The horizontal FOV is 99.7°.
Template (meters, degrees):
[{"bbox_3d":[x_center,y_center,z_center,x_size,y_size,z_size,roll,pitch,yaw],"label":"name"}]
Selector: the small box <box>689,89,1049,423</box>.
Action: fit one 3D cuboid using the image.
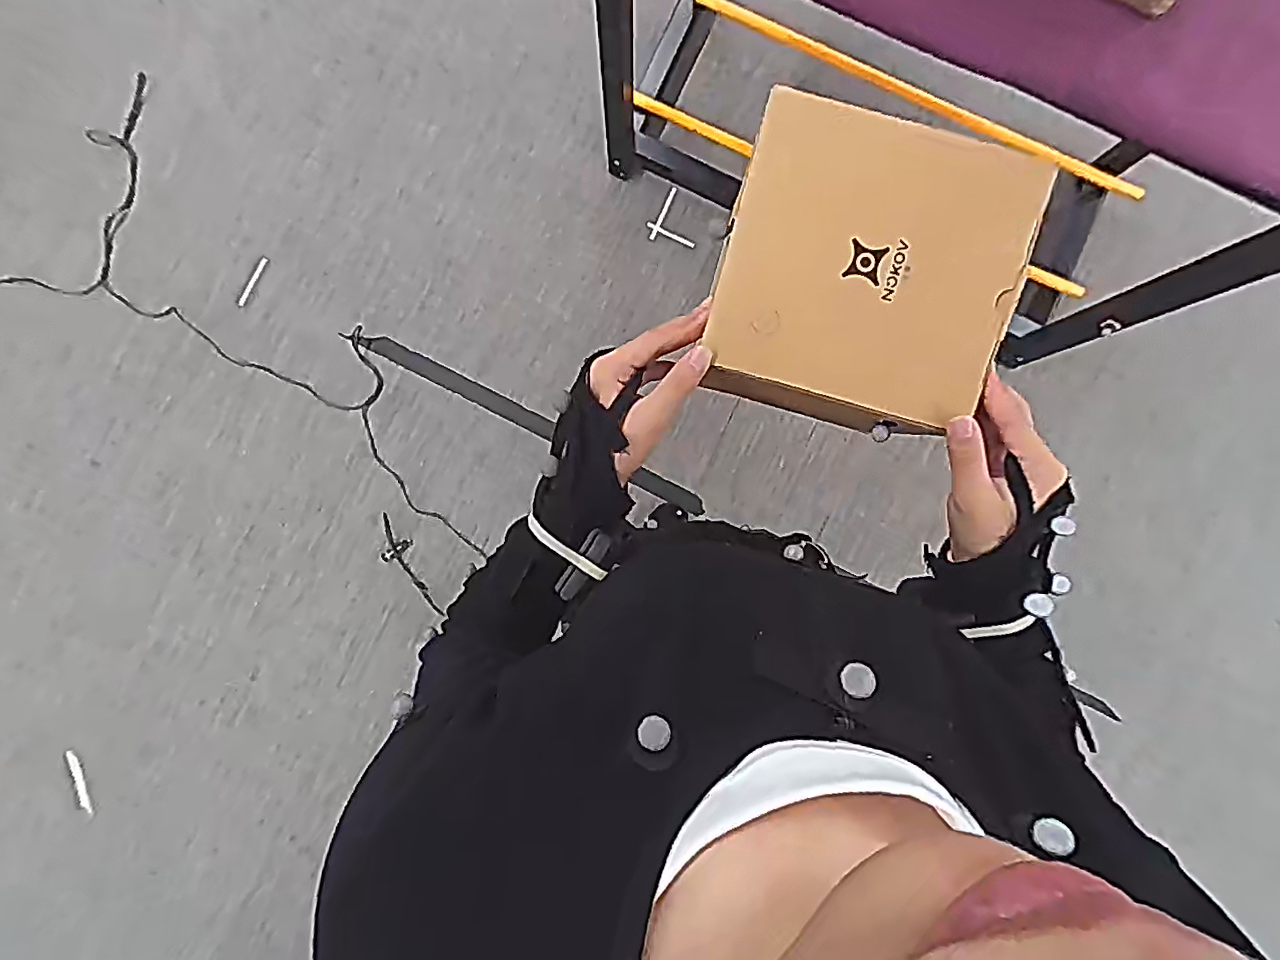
[{"bbox_3d":[0.141,-0.141,0.408,0.179,0.176,0.168,15,97,0],"label":"small box"}]
